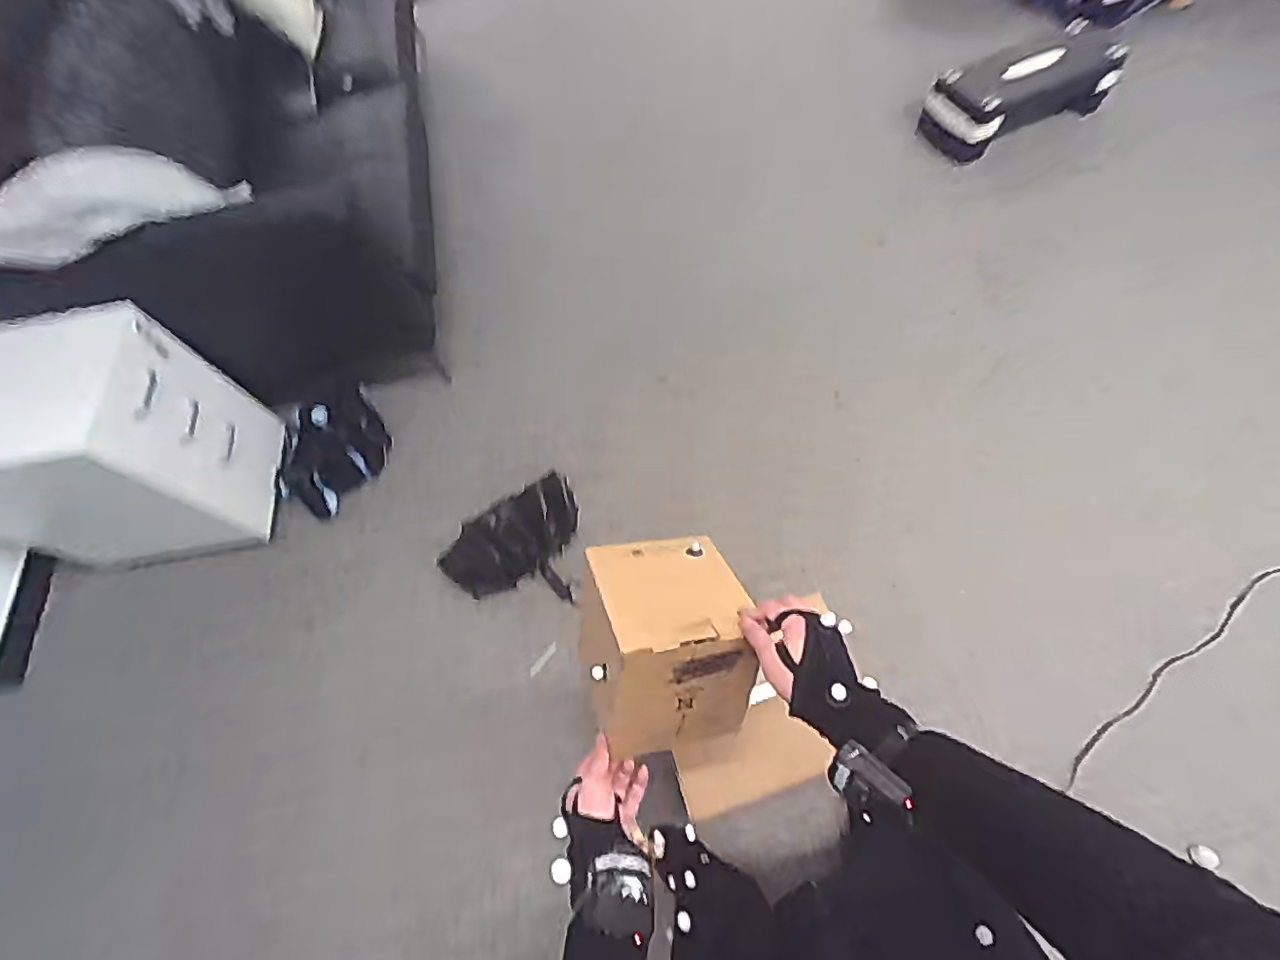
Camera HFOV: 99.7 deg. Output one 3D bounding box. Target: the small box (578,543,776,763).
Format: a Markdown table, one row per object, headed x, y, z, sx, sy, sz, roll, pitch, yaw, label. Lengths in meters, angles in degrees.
| x | y | z | sx | sy | sz | roll | pitch | yaw | label |
| --- | --- | --- | --- | --- | --- | --- | --- | --- | --- |
| 0.028 | 0.186 | 0.630 | 0.168 | 0.179 | 0.176 | -2 | 31 | -19 | small box |
